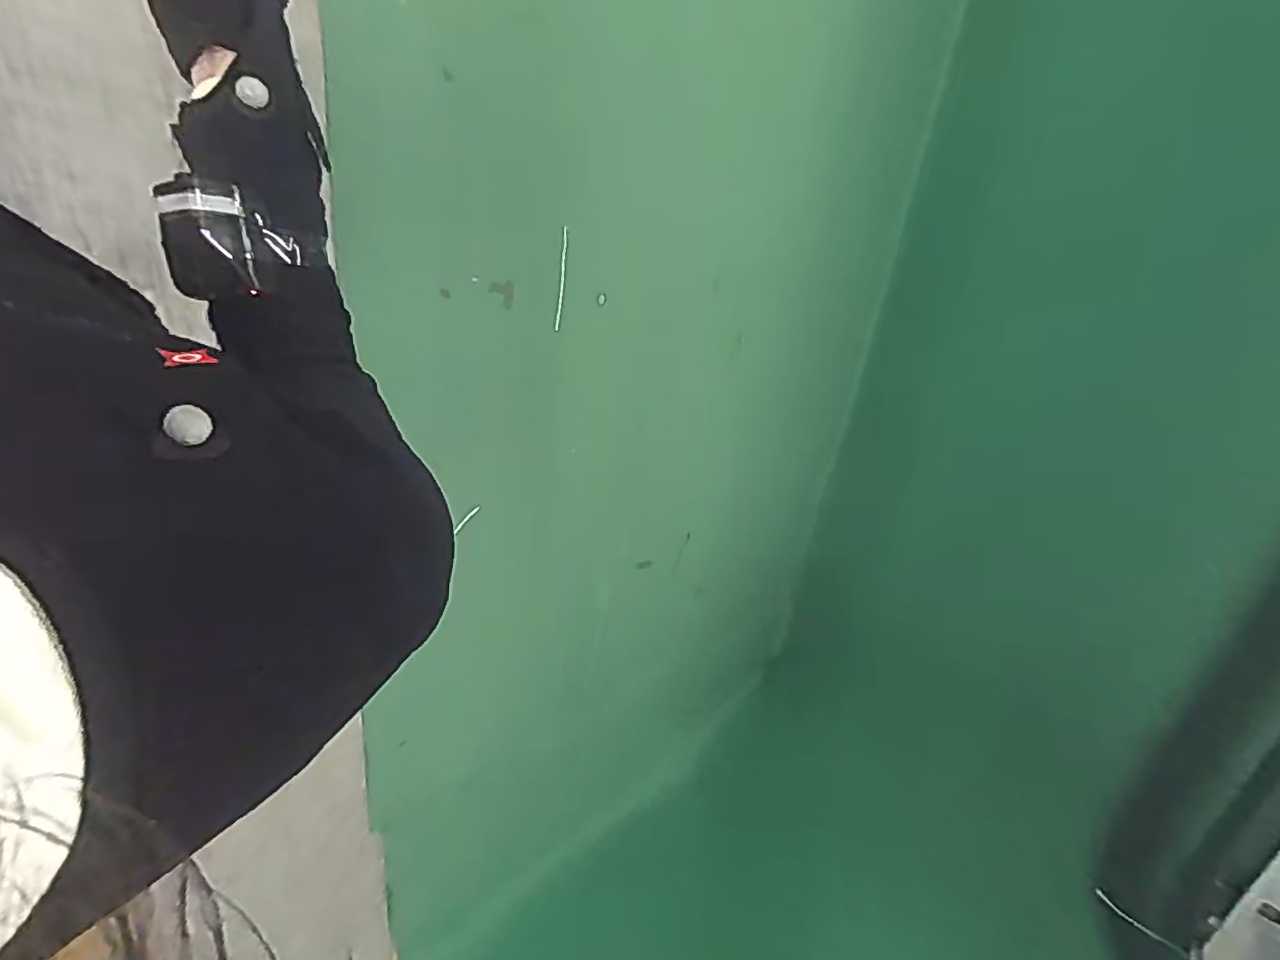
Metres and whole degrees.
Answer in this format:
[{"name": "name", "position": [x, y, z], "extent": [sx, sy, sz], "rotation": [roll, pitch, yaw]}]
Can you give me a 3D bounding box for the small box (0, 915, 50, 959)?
[{"name": "small box", "position": [-1.159, 0.923, 0.928], "extent": [0.179, 0.176, 0.168], "rotation": [-15, 115, -42]}]
